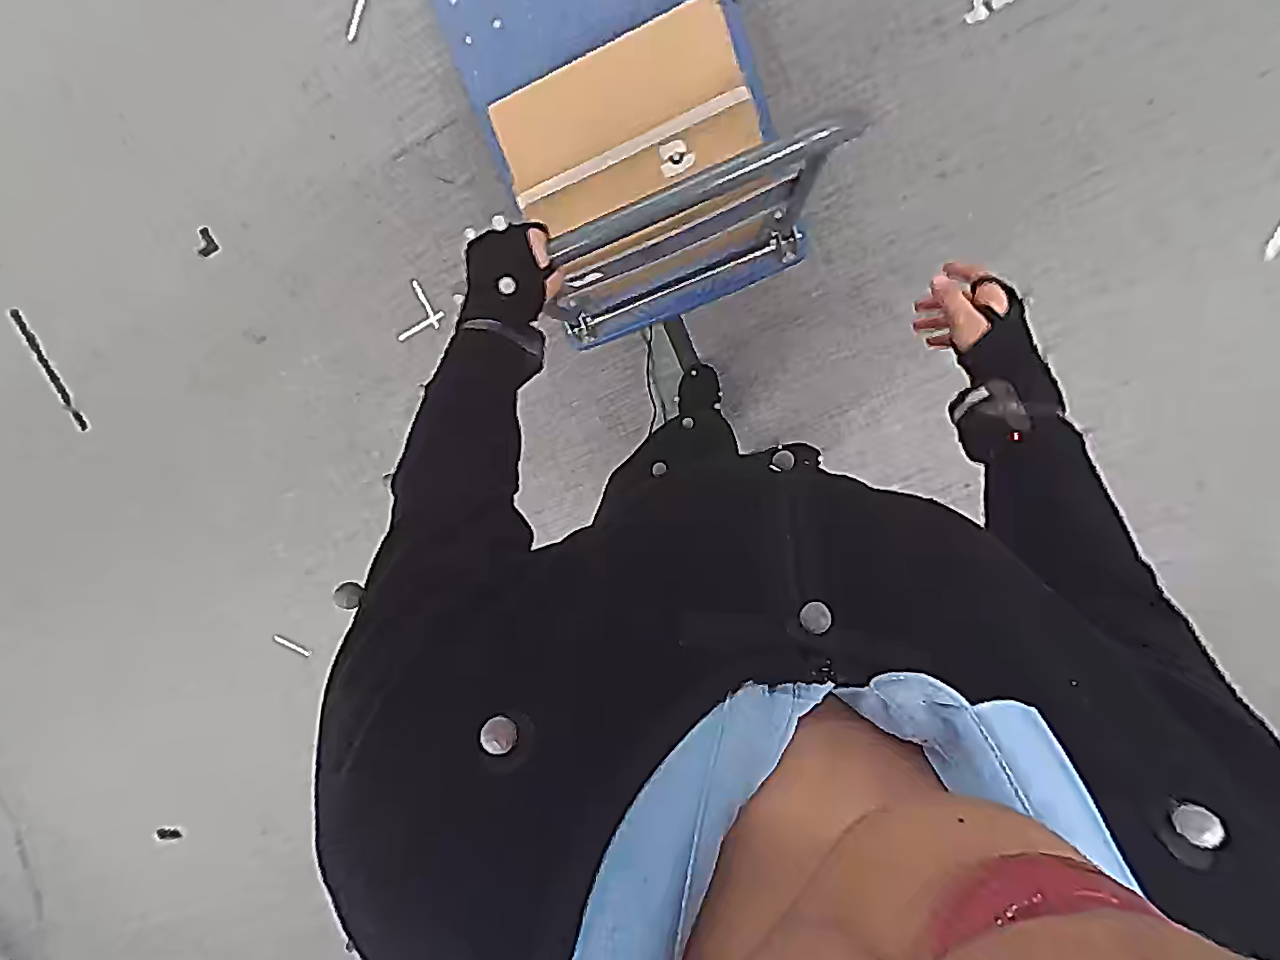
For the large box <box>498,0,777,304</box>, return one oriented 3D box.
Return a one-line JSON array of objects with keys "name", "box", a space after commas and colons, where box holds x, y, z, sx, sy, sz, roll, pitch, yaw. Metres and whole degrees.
[{"name": "large box", "box": [0.008, -0.576, 1.047, 0.408, 0.320, 0.320, -19, 101, 11]}]
